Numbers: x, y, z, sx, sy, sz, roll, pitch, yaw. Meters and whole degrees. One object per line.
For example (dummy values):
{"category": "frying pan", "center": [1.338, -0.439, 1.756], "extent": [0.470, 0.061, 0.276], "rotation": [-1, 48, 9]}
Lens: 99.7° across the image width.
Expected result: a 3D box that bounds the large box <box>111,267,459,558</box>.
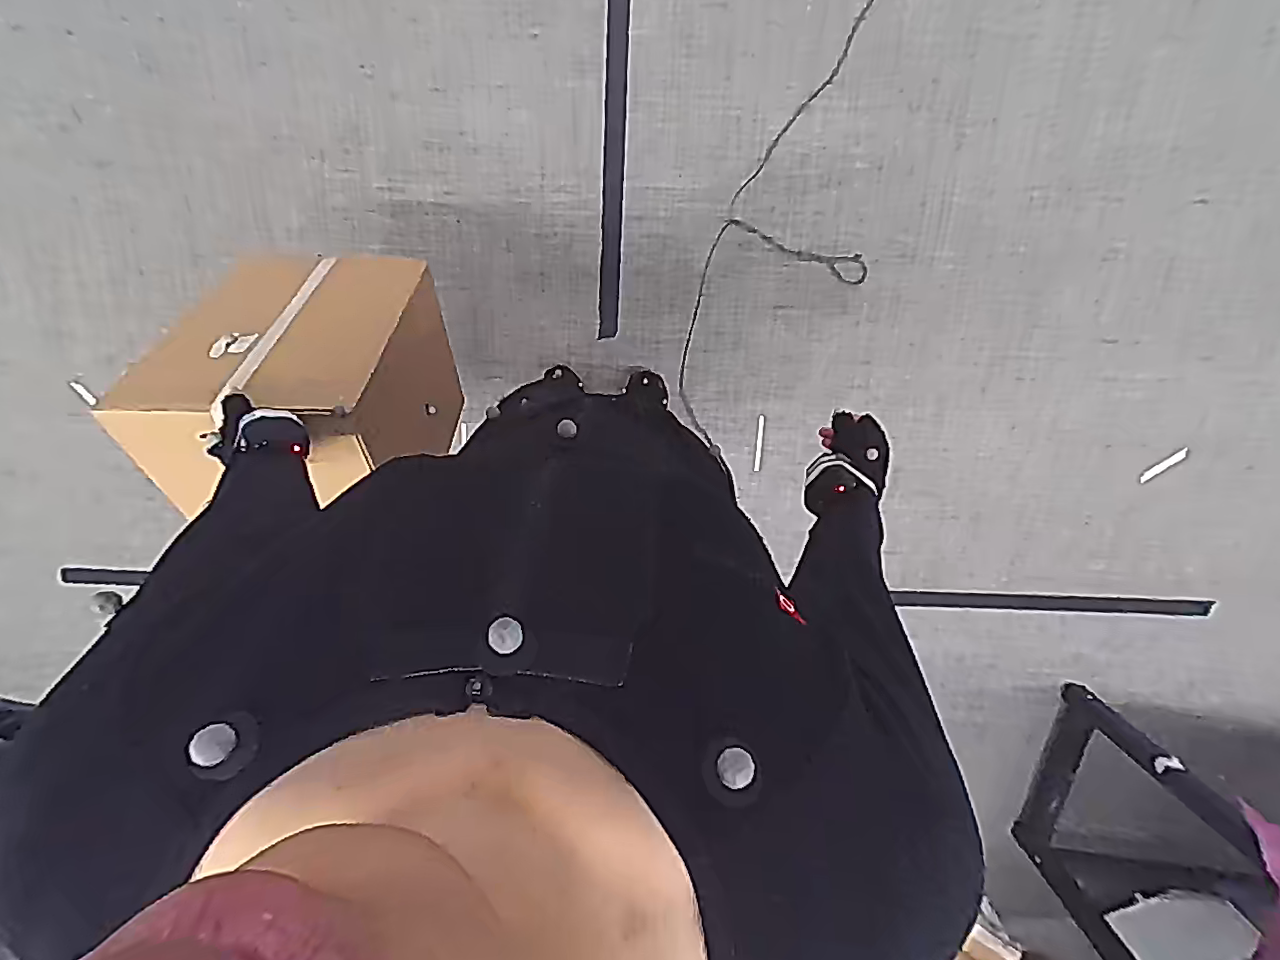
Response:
{"category": "large box", "center": [-0.521, -0.119, 0.918], "extent": [0.320, 0.408, 0.320], "rotation": [-1, 138, -2]}
